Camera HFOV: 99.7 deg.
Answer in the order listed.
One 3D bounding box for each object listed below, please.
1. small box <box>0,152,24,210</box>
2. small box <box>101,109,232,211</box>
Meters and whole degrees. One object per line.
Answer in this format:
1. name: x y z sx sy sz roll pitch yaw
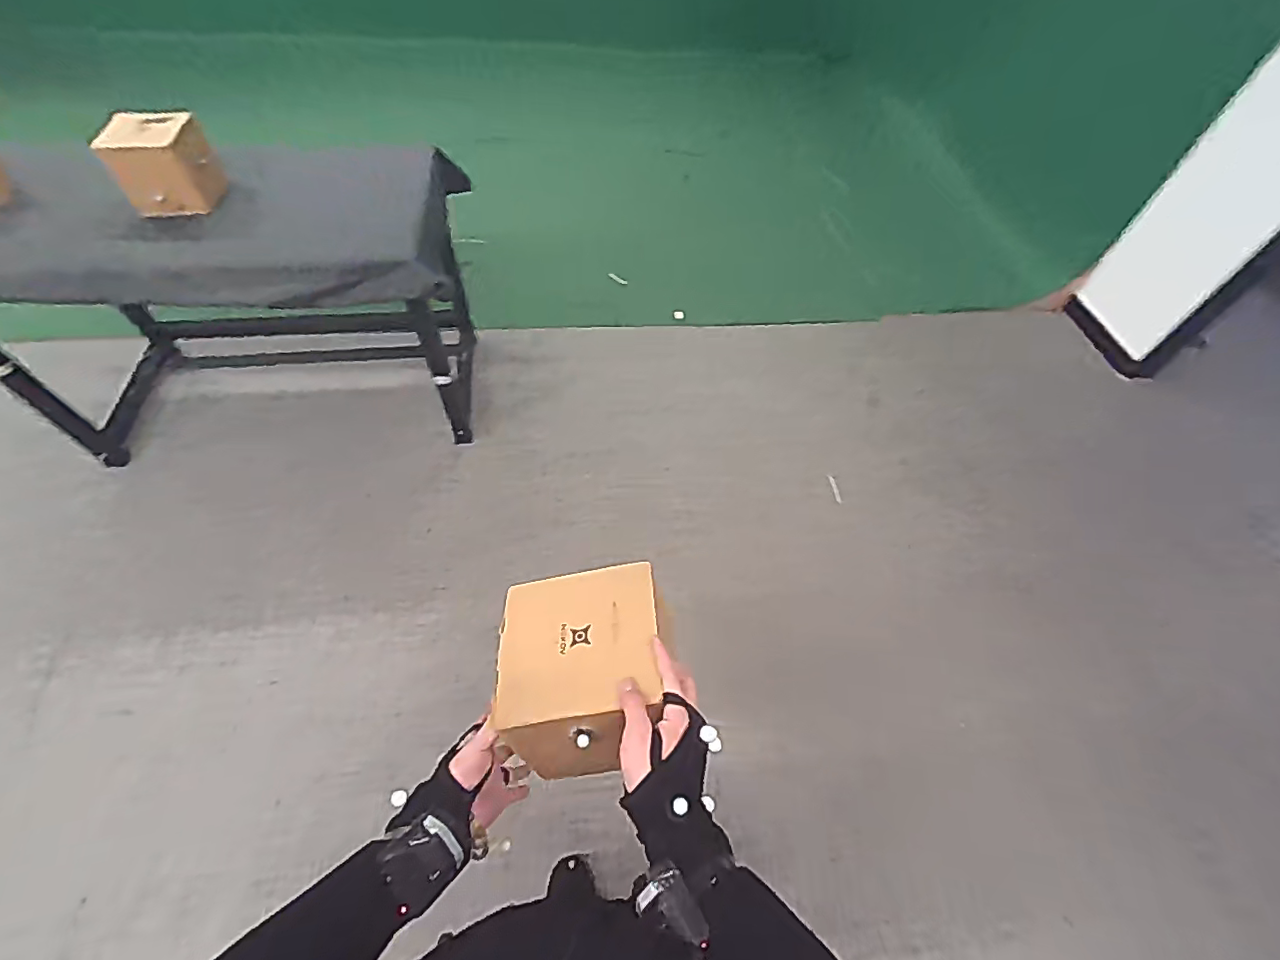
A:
1. small box: -1.670 -0.756 1.301 0.168 0.176 0.179 -7 57 -9
2. small box: -1.177 -0.806 1.363 0.168 0.176 0.179 -6 57 -7
